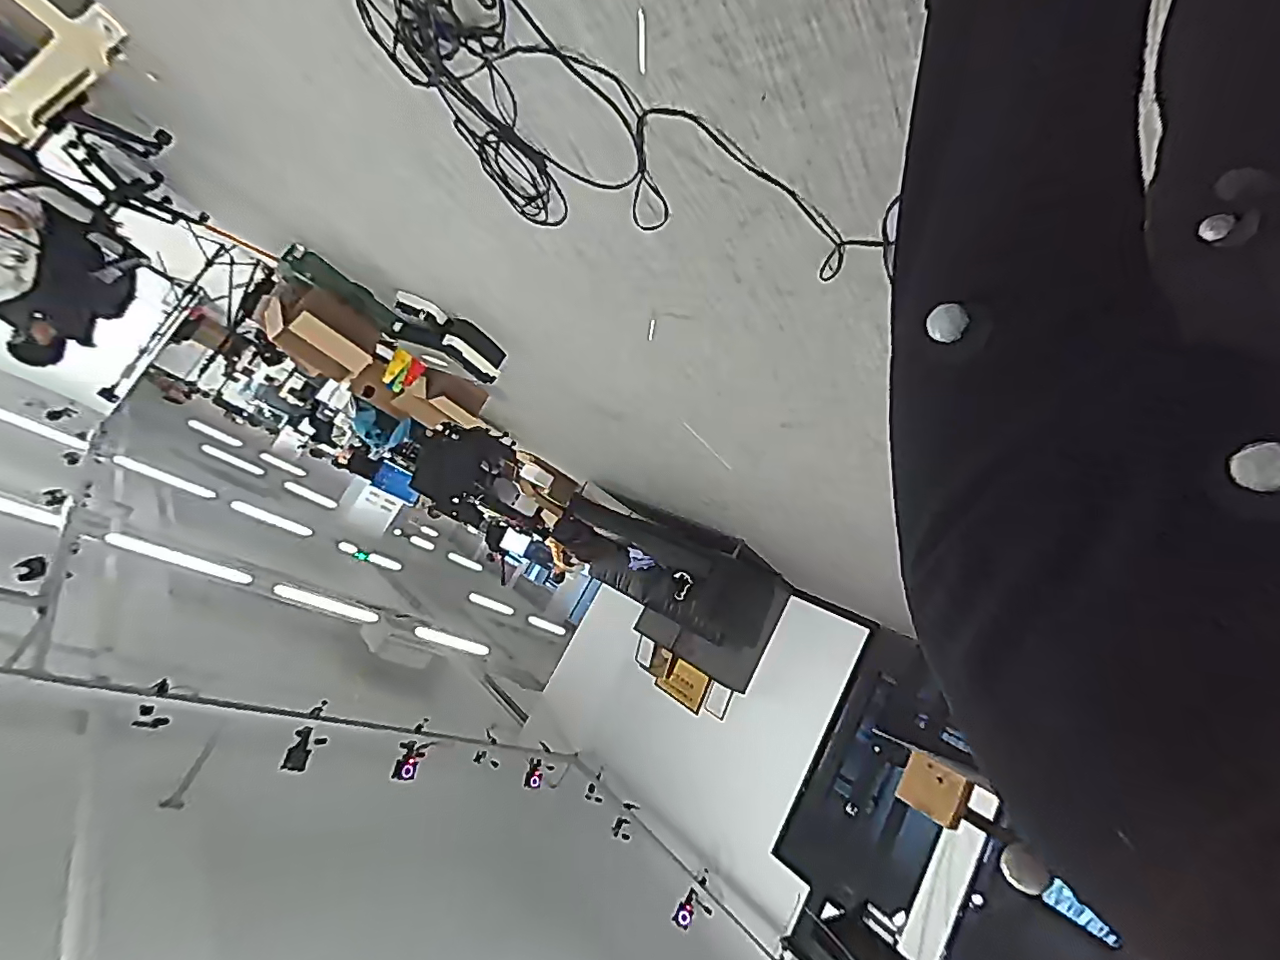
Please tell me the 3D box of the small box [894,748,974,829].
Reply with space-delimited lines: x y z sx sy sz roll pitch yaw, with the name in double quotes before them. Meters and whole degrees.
"small box" 0.967 1.006 1.769 0.168 0.176 0.179 19 166 46
